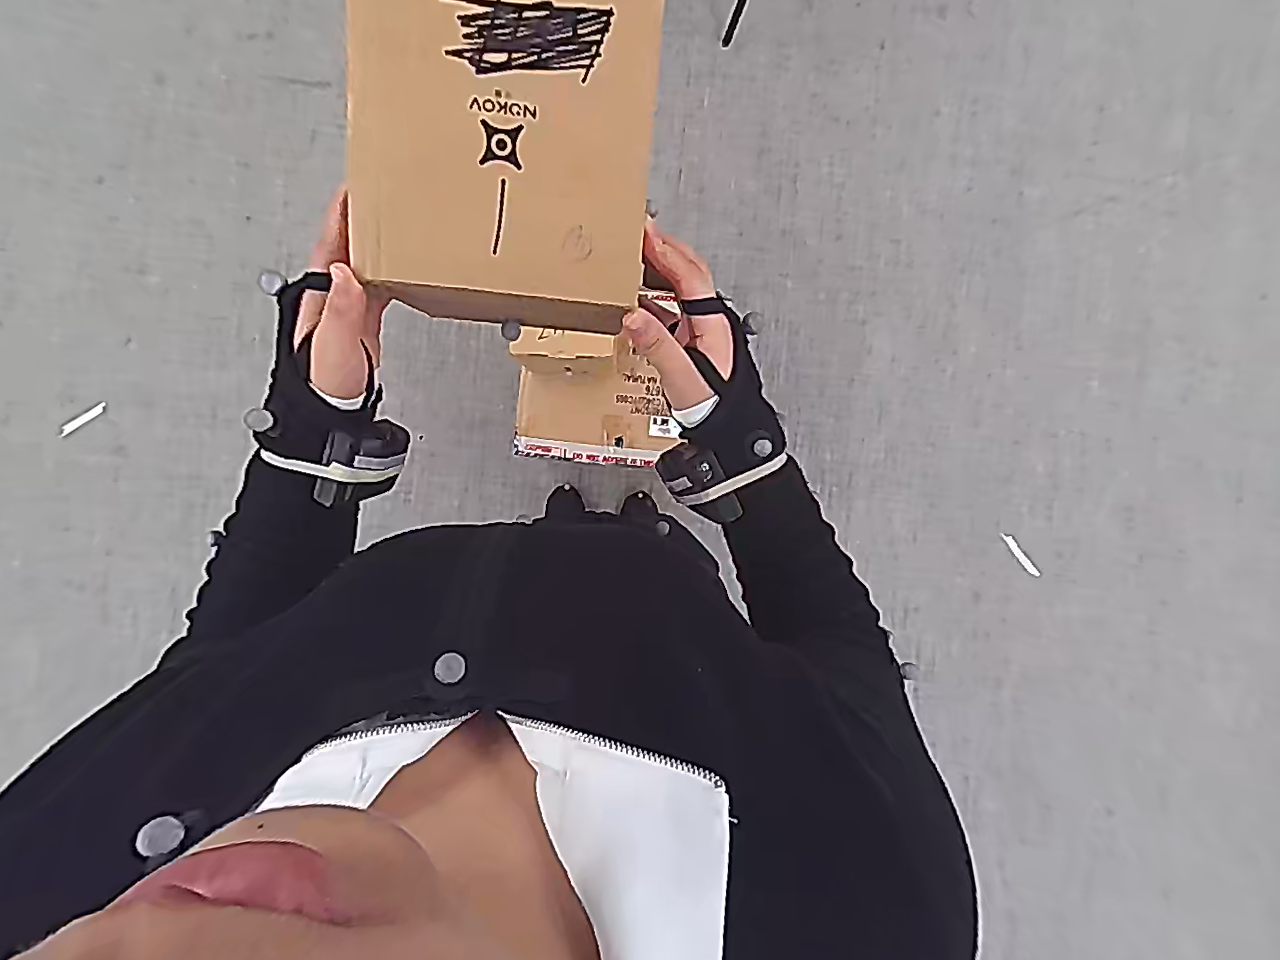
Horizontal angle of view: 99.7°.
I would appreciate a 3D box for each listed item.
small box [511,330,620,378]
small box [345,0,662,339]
[{"bbox_3d":[-0.120,-0.280,0.929,0.168,0.176,0.179,2,92,0],"label":"small box"},{"bbox_3d":[-0.084,-0.202,0.377,0.168,0.176,0.179,4,99,-6],"label":"small box"}]
